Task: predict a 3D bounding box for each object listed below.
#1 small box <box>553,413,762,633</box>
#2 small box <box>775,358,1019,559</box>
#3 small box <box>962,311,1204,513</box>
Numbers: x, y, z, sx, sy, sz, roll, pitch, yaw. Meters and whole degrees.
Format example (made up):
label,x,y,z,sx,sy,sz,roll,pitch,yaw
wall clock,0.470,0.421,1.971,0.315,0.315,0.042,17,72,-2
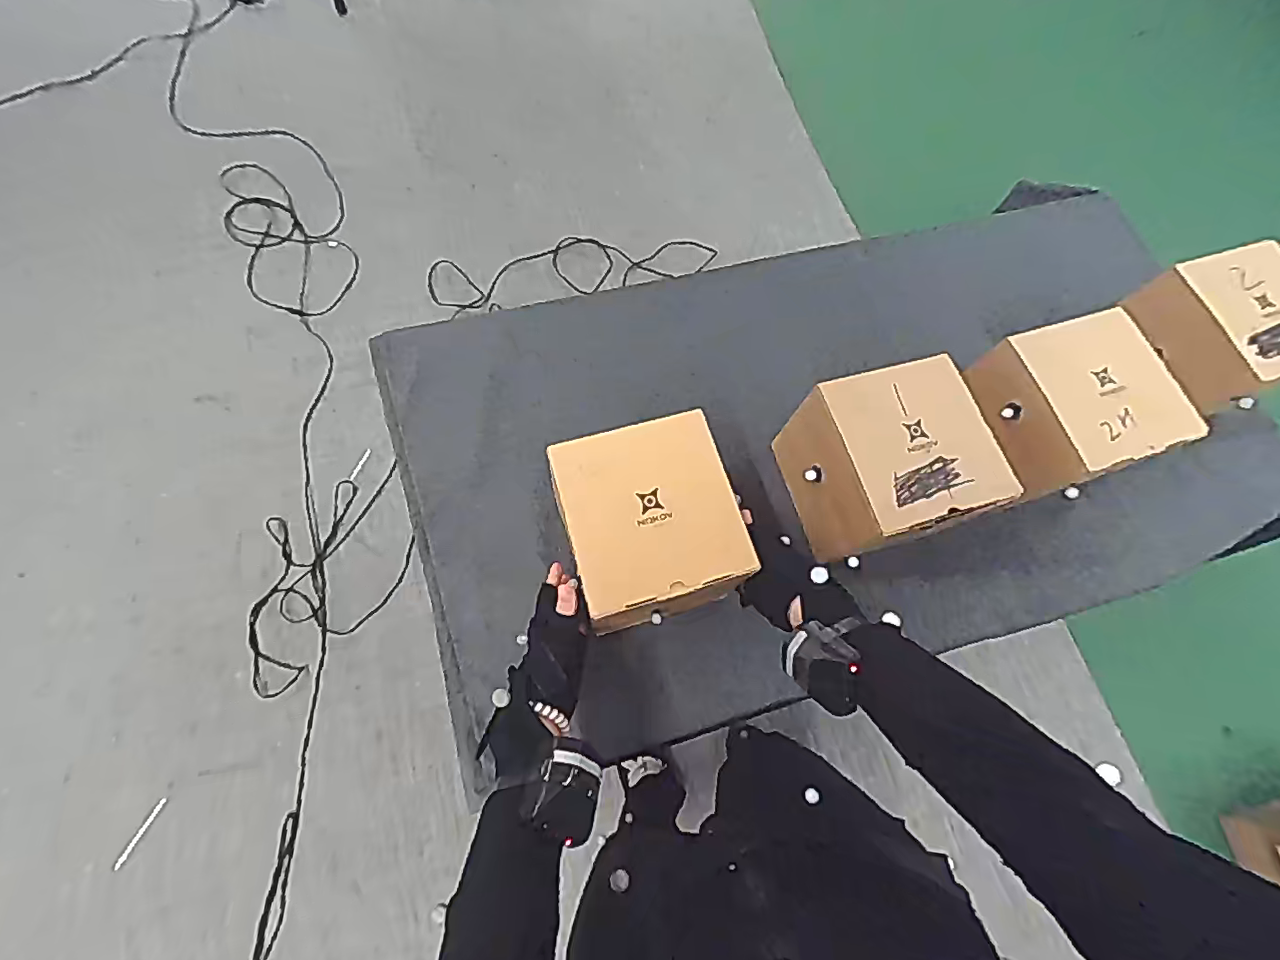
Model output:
label,x,y,z,sx,sy,sz,roll,pitch,yaw
small box,0.007,0.055,0.593,0.168,0.176,0.179,-15,72,-10
small box,0.283,-0.014,0.641,0.168,0.176,0.179,-14,72,-10
small box,0.514,-0.078,0.683,0.168,0.176,0.179,-16,73,-10
